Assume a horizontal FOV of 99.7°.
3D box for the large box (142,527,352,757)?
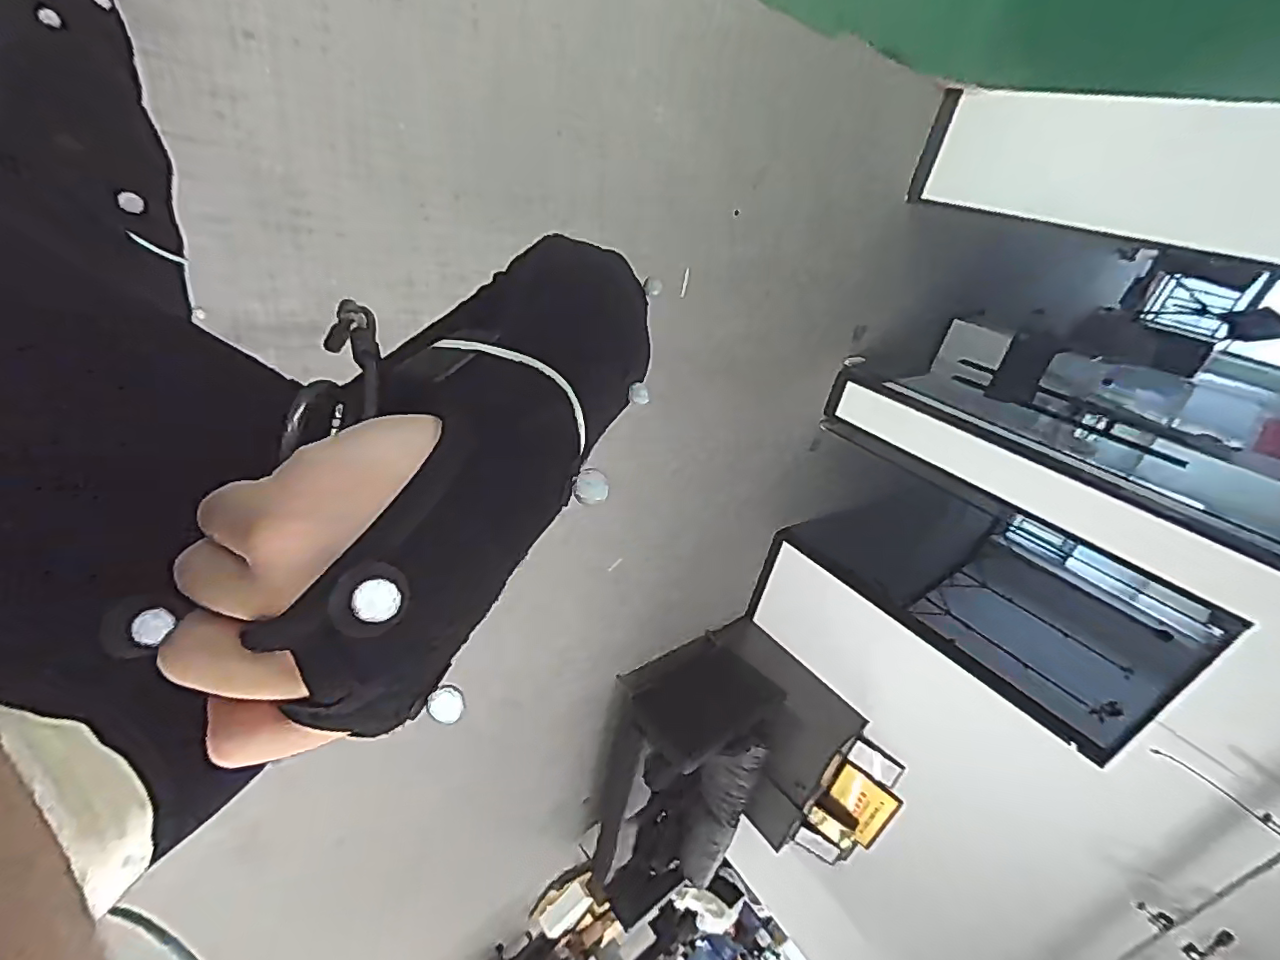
[{"bbox_3d":[-0.985,0.398,1.381,0.320,0.320,0.408,-20,133,-35],"label":"large box"}]
